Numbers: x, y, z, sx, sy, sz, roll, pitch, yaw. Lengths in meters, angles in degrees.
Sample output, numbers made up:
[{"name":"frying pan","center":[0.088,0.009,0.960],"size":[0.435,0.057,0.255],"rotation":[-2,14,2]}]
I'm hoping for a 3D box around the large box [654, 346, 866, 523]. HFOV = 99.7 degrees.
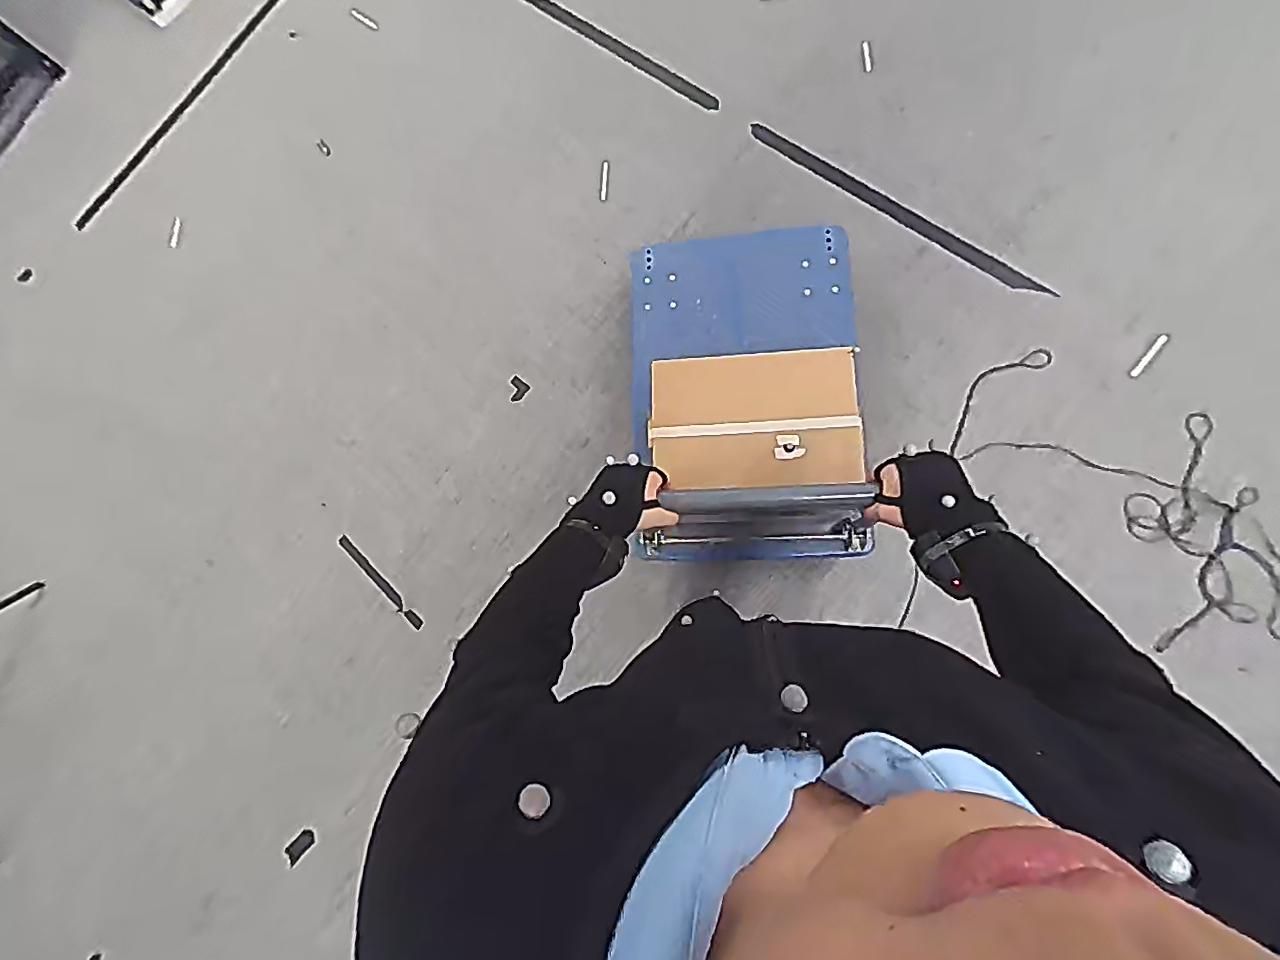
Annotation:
[{"name":"large box","center":[0.249,-0.081,1.222],"size":[0.408,0.320,0.320],"rotation":[-3,80,8]}]
